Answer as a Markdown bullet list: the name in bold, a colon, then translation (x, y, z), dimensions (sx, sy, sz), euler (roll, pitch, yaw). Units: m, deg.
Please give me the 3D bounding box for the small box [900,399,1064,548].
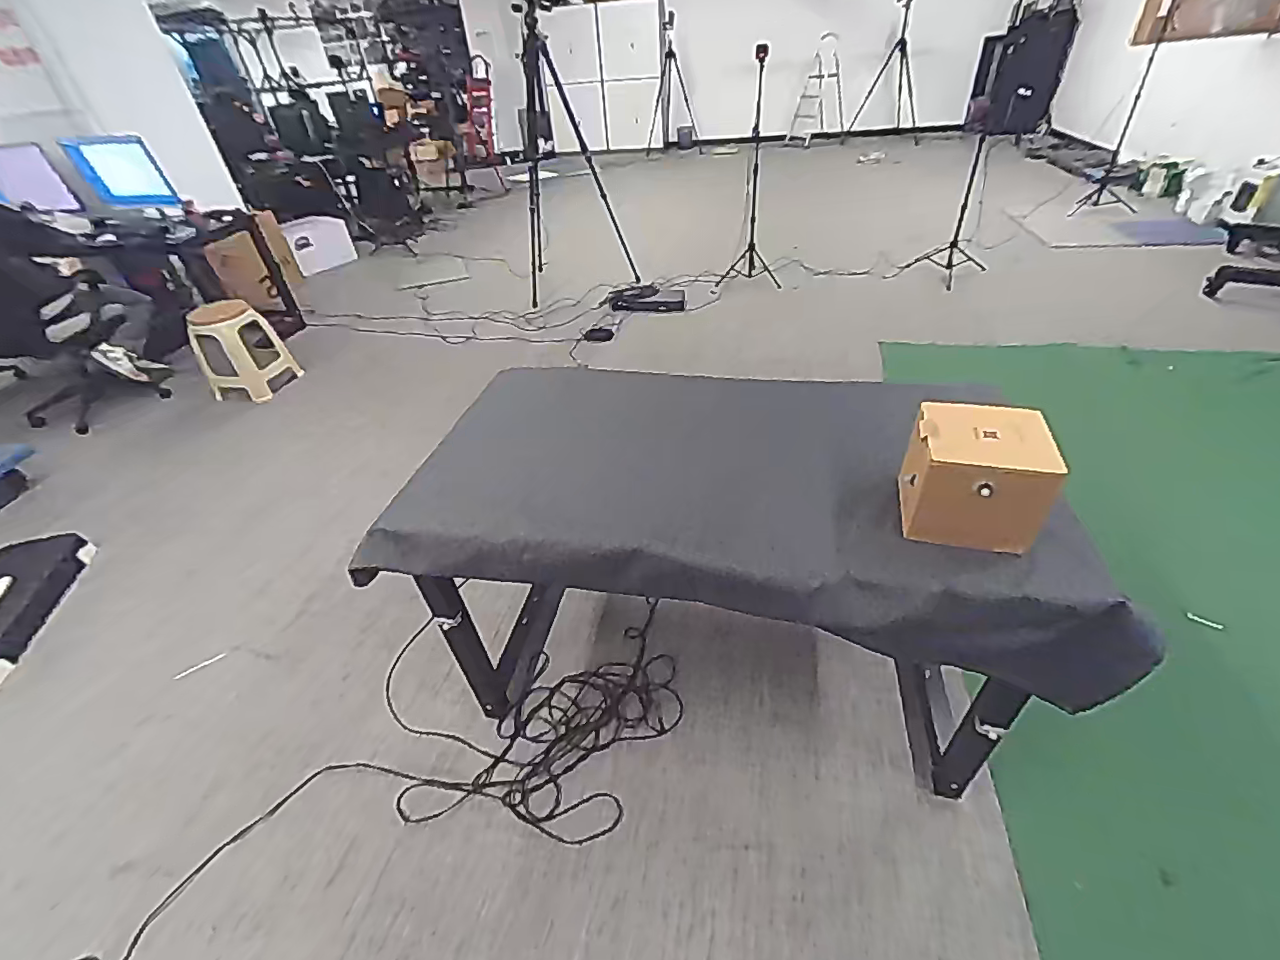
- **small box**: translation (0.526, -0.011, 0.866), dimensions (0.179, 0.176, 0.168), euler (8, 42, 15)
